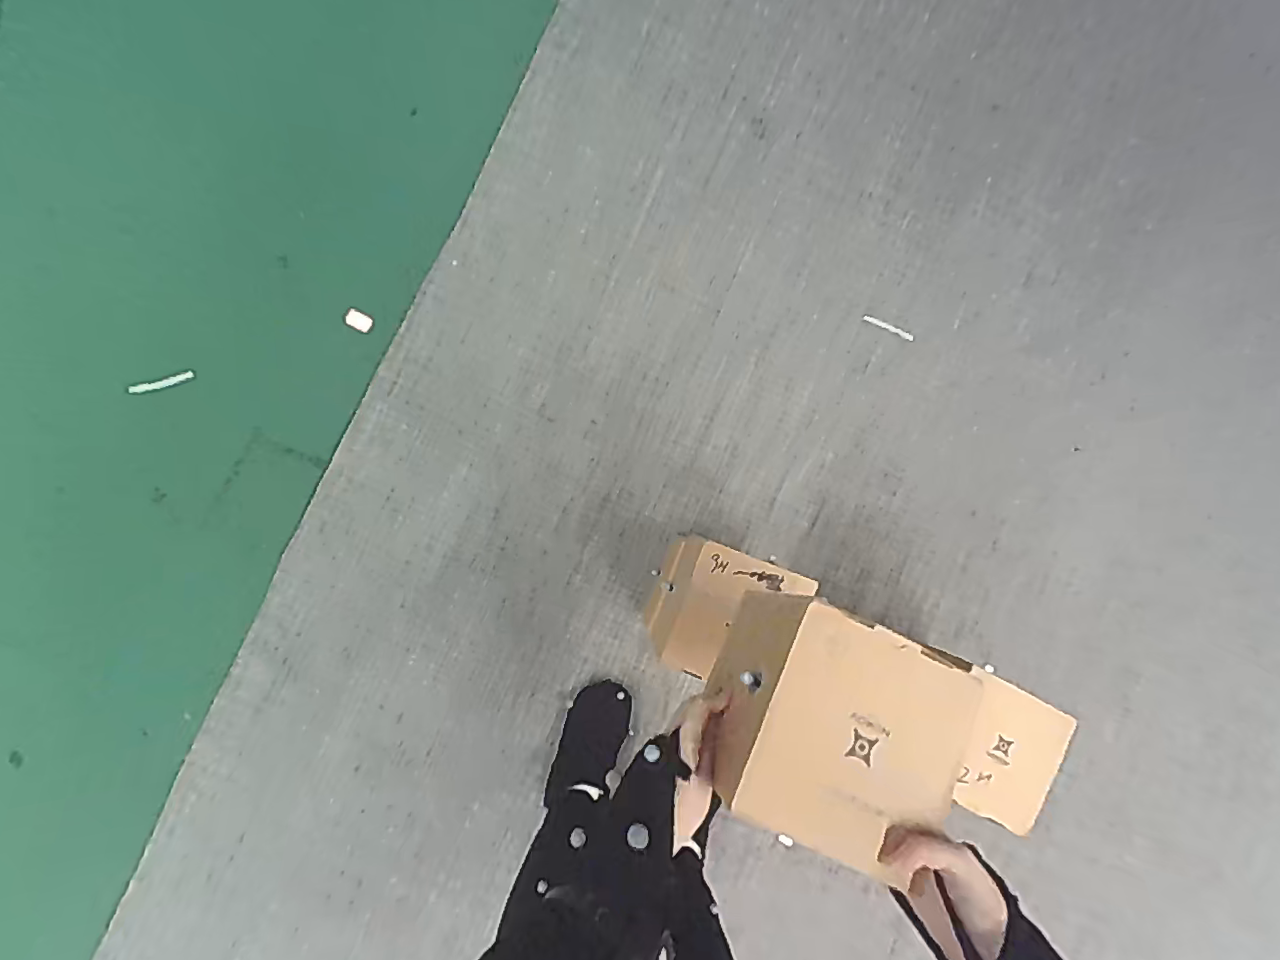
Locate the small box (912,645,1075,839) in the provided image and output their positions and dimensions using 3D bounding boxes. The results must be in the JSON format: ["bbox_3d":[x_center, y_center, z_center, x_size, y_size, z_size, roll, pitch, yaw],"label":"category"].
[{"bbox_3d":[0.474,0.369,0.801,0.168,0.176,0.179,28,85,-1],"label":"small box"}]

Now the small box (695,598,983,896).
[{"bbox_3d":[0.167,0.221,0.505,0.168,0.176,0.179,26,78,-2],"label":"small box"}]

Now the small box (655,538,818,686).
[{"bbox_3d":[0.128,0.196,0.789,0.168,0.176,0.179,22,86,-2],"label":"small box"}]
